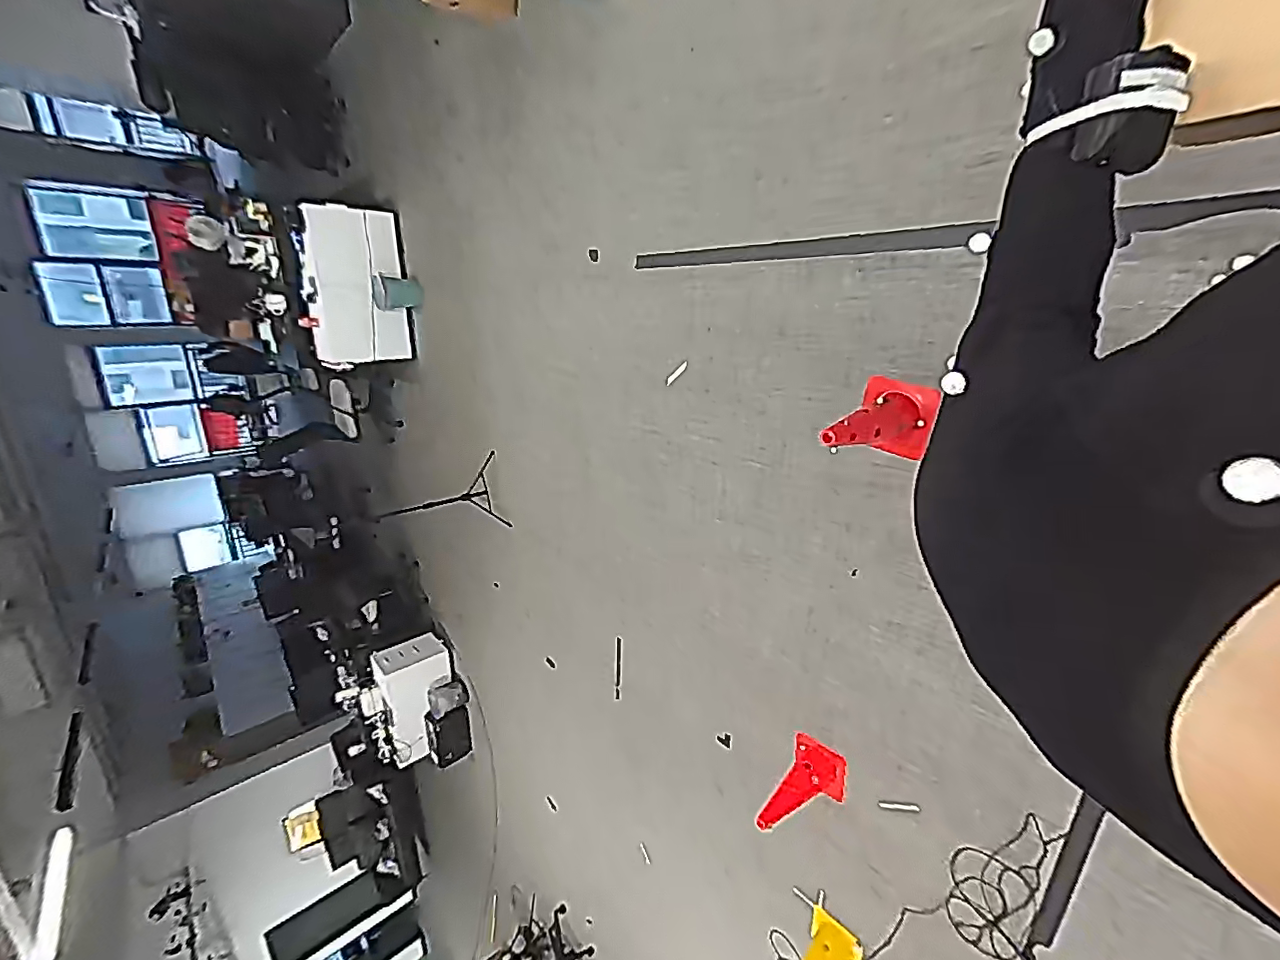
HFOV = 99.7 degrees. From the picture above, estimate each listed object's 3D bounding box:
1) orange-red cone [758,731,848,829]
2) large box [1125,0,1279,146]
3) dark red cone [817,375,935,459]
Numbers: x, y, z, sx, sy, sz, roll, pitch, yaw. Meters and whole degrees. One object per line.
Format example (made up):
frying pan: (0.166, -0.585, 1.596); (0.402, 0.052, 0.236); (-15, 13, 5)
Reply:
orange-red cone: (0.528, 1.068, 1.847); (0.198, 0.360, 0.199); (17, 116, 47)
large box: (0.579, -0.413, 0.295); (0.408, 0.320, 0.320); (16, 122, 46)
dark red cone: (0.564, -0.141, 1.368); (0.201, 0.394, 0.202); (26, 121, 42)
